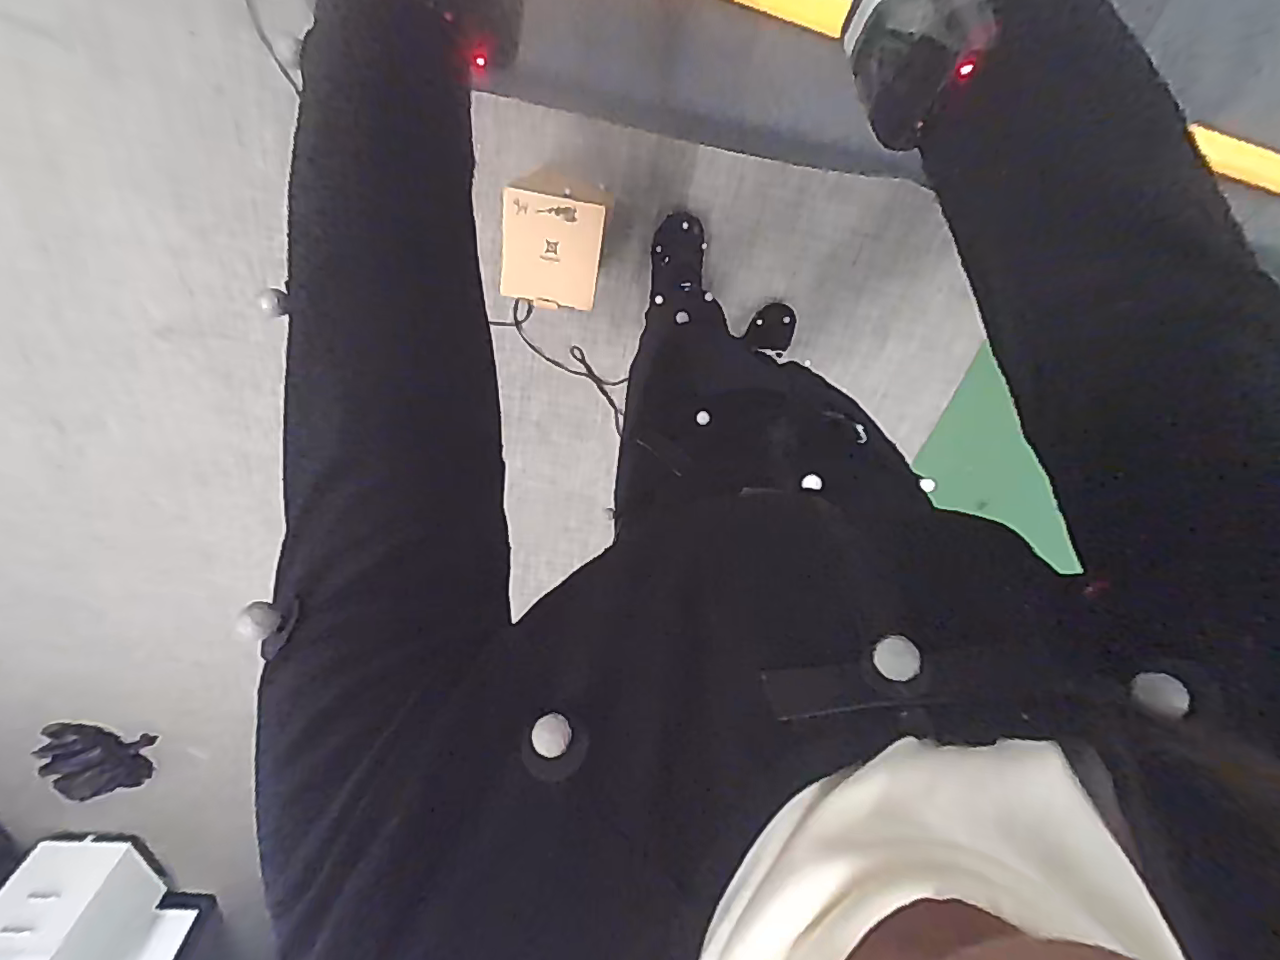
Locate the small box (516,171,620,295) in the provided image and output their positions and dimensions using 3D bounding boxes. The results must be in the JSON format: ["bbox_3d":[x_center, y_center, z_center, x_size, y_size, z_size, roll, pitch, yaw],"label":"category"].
[{"bbox_3d":[-0.145,-0.516,1.119,0.168,0.176,0.179,16,123,-11],"label":"small box"}]
